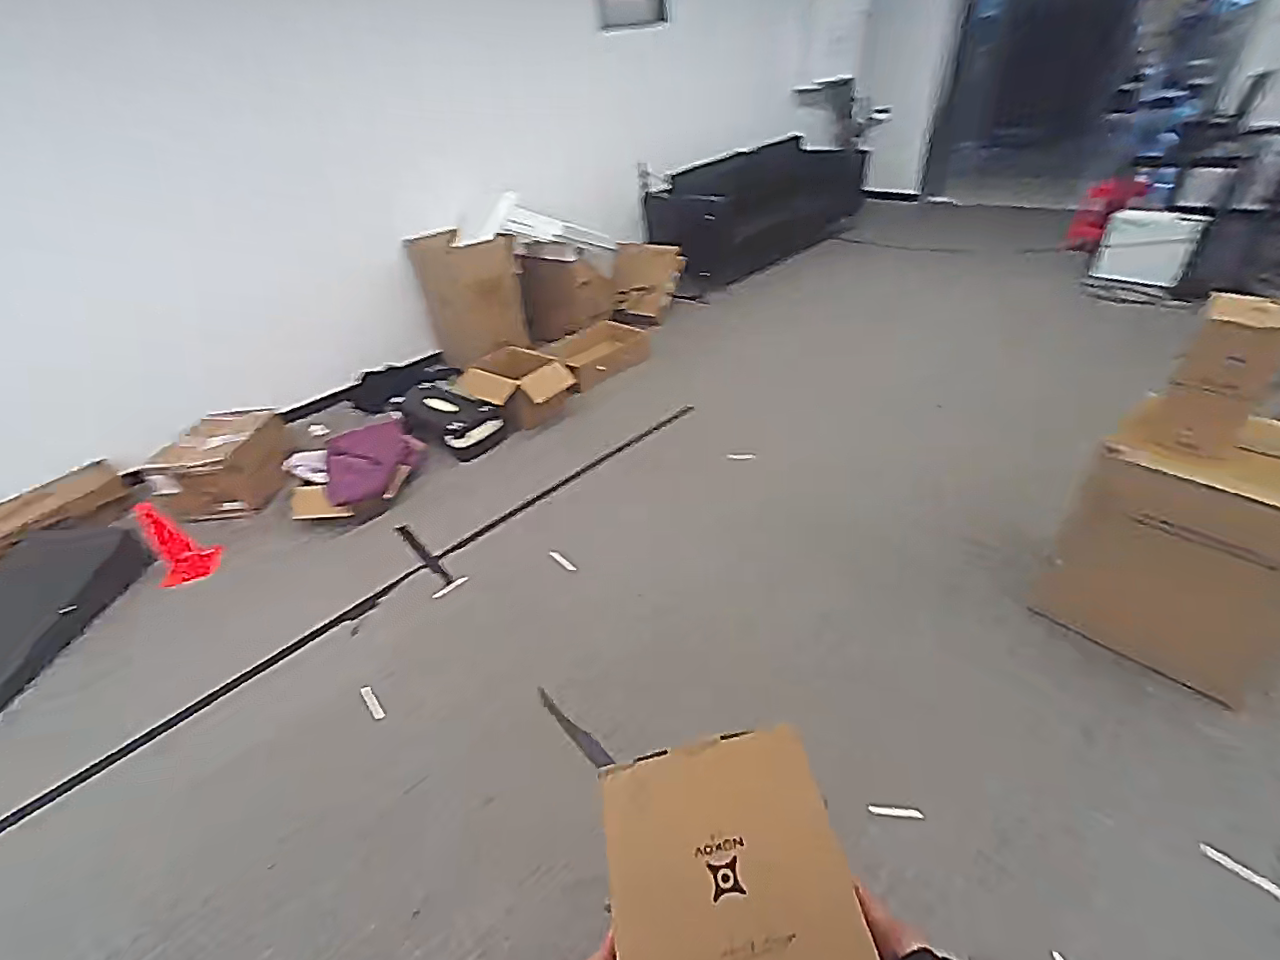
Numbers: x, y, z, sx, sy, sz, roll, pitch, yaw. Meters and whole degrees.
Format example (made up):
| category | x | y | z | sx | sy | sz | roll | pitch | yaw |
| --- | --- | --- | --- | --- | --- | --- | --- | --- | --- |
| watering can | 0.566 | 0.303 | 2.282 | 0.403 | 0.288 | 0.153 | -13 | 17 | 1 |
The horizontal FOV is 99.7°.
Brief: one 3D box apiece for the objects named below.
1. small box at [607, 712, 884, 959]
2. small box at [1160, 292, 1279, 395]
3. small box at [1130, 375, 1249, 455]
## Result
| category | x | y | z | sx | sy | sz | roll | pitch | yaw |
| --- | --- | --- | --- | --- | --- | --- | --- | --- | --- |
| small box | 0.076 | 0.322 | 0.440 | 0.168 | 0.176 | 0.179 | -14 | 45 | 2 |
| small box | 1.380 | -0.322 | 1.277 | 0.168 | 0.176 | 0.179 | 27 | 51 | 37 |
| small box | 1.398 | -0.192 | 1.375 | 0.179 | 0.176 | 0.168 | -35 | 45 | -30 |
